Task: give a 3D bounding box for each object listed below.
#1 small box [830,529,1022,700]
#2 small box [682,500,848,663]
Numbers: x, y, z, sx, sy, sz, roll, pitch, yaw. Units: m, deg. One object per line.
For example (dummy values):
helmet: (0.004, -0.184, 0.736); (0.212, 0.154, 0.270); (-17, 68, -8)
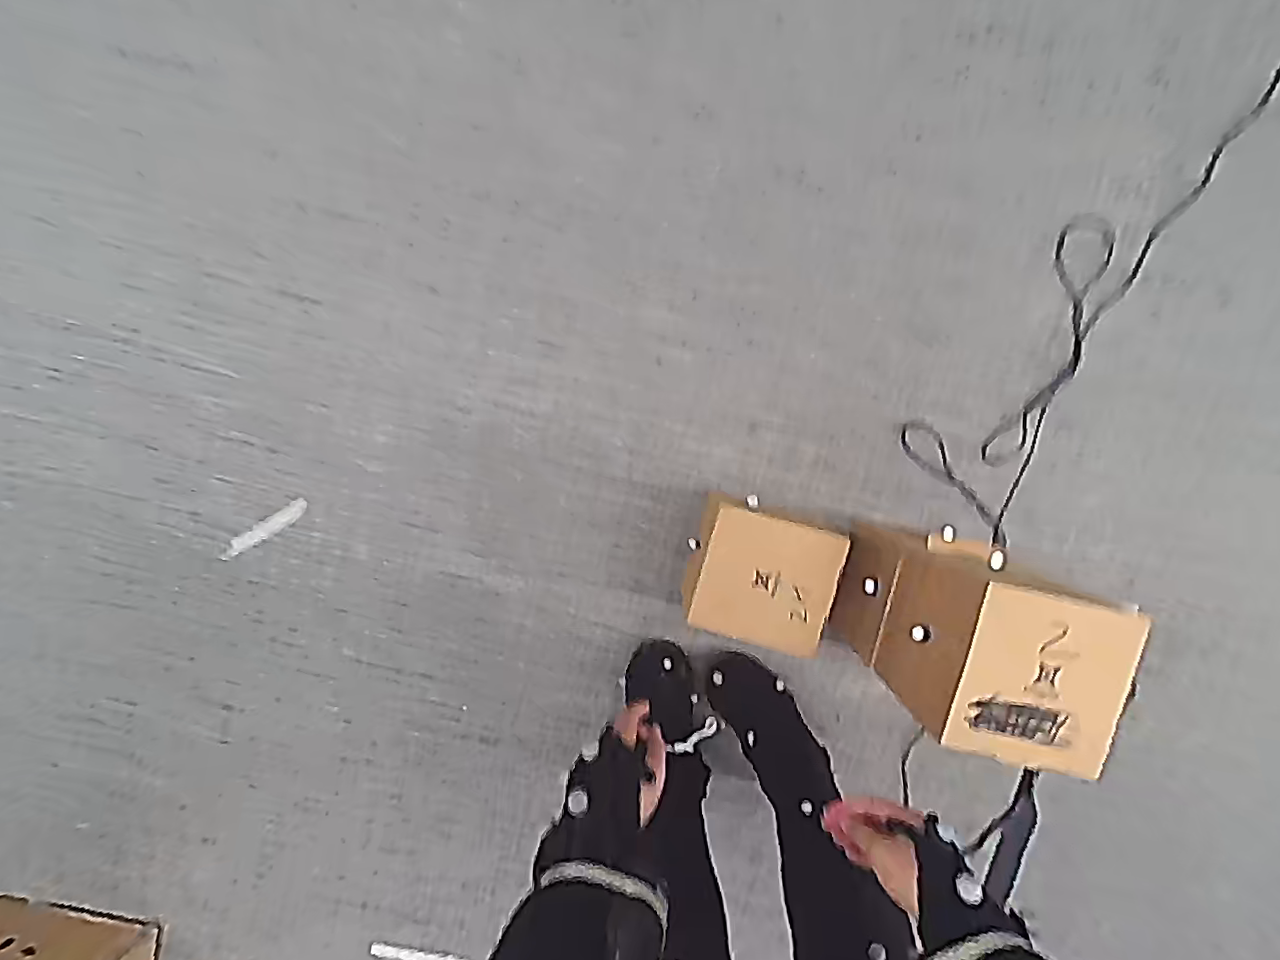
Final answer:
small box: (0.394, 0.180, 0.779); (0.168, 0.176, 0.179); (13, 96, 0)
small box: (0.165, 0.132, 0.778); (0.179, 0.176, 0.168); (17, 96, 1)
